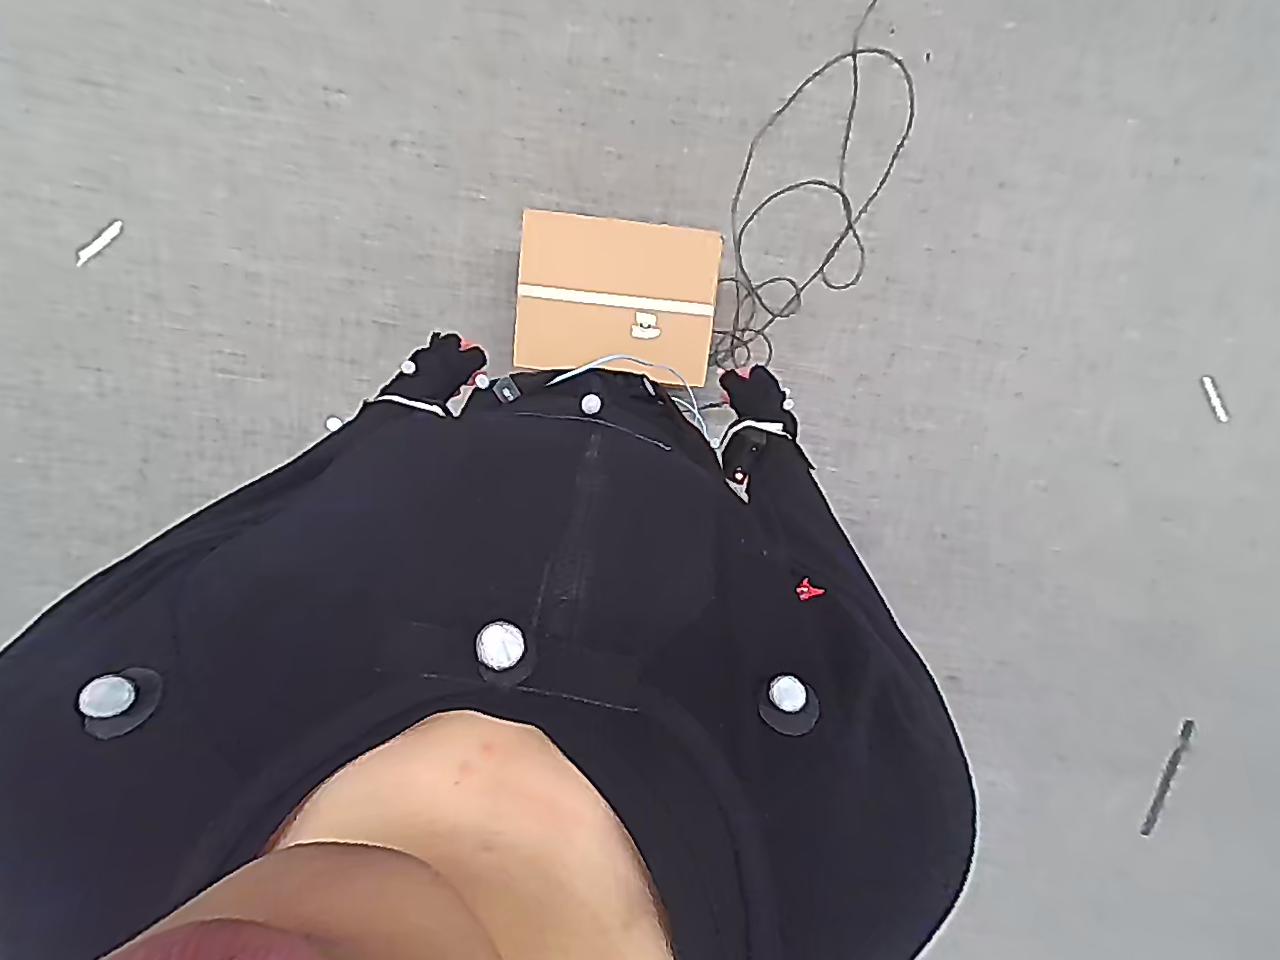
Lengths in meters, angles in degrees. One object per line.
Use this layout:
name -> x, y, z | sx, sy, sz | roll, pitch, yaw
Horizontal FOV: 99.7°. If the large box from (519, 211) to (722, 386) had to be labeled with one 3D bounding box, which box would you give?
large box -> -0.048, -0.397, 1.264 | 0.408, 0.320, 0.320 | 6, 100, -2
